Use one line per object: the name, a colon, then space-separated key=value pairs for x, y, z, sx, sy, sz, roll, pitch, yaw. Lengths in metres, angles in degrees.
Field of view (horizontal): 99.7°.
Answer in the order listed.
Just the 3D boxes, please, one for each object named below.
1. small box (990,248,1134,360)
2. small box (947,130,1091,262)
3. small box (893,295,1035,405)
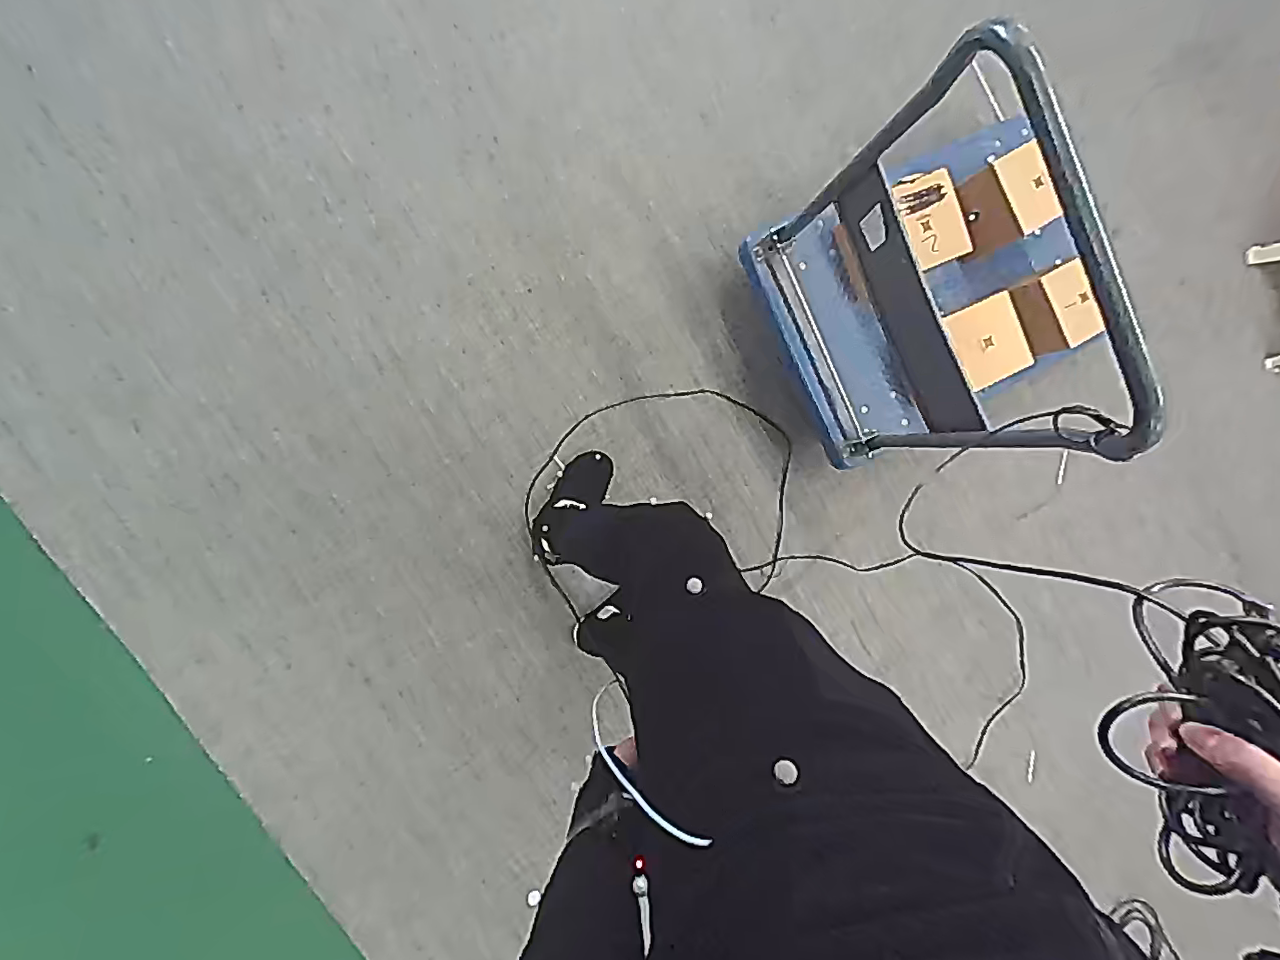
small box: x=0.927 y=-0.379 z=1.207 sx=0.179 sy=0.176 sz=0.168 roll=-28 pitch=95 yaw=-7
small box: x=0.812 y=-0.608 z=1.182 sx=0.179 sy=0.176 sz=0.168 roll=-30 pitch=97 yaw=-7
small box: x=0.694 y=-0.275 z=1.174 sx=0.179 sy=0.176 sz=0.168 roll=-25 pitch=95 yaw=-7
